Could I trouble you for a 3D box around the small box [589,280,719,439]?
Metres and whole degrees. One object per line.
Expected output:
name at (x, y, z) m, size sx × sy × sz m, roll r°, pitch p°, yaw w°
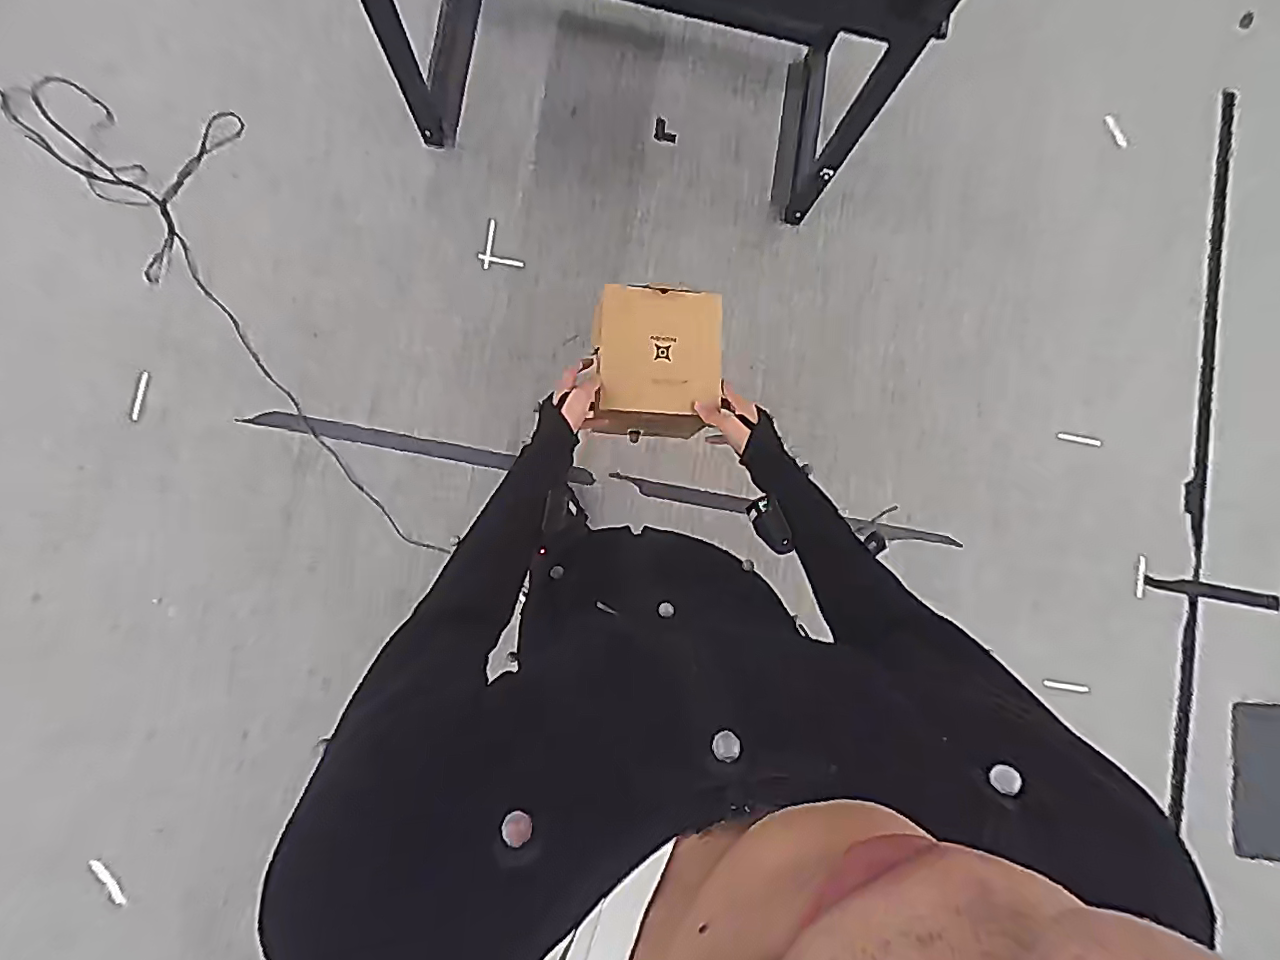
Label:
small box at (0.012, -0.166, 0.794) m, size 0.168 × 0.176 × 0.179 m, roll 2°, pitch 83°, yaw -8°
